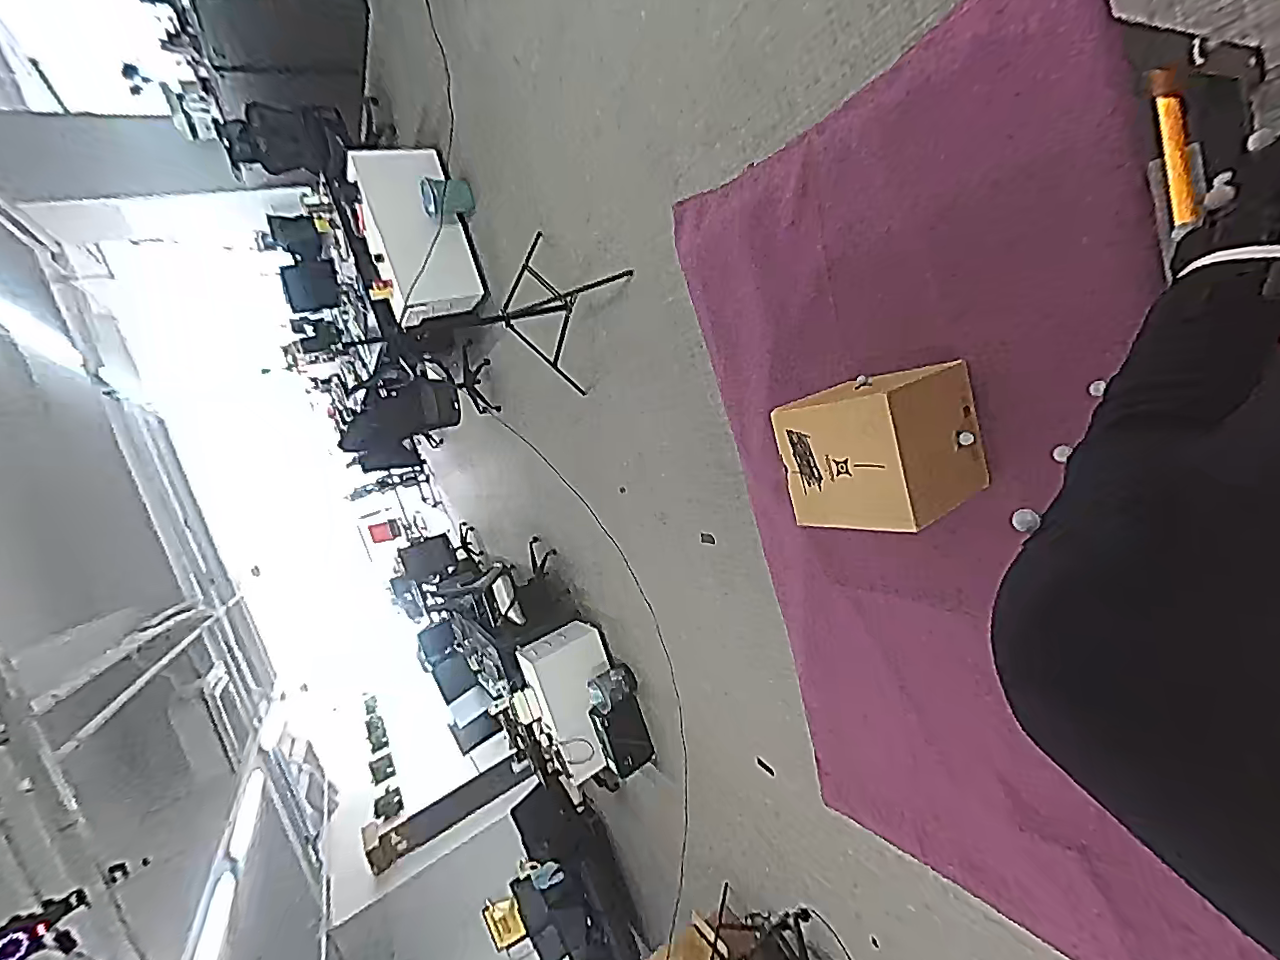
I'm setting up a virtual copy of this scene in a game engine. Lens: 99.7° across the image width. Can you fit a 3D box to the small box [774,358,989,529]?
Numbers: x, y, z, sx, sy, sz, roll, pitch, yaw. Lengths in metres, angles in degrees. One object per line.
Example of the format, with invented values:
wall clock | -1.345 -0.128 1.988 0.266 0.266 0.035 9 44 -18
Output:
small box | 0.310 -0.048 0.702 0.179 0.176 0.168 -1 108 59
